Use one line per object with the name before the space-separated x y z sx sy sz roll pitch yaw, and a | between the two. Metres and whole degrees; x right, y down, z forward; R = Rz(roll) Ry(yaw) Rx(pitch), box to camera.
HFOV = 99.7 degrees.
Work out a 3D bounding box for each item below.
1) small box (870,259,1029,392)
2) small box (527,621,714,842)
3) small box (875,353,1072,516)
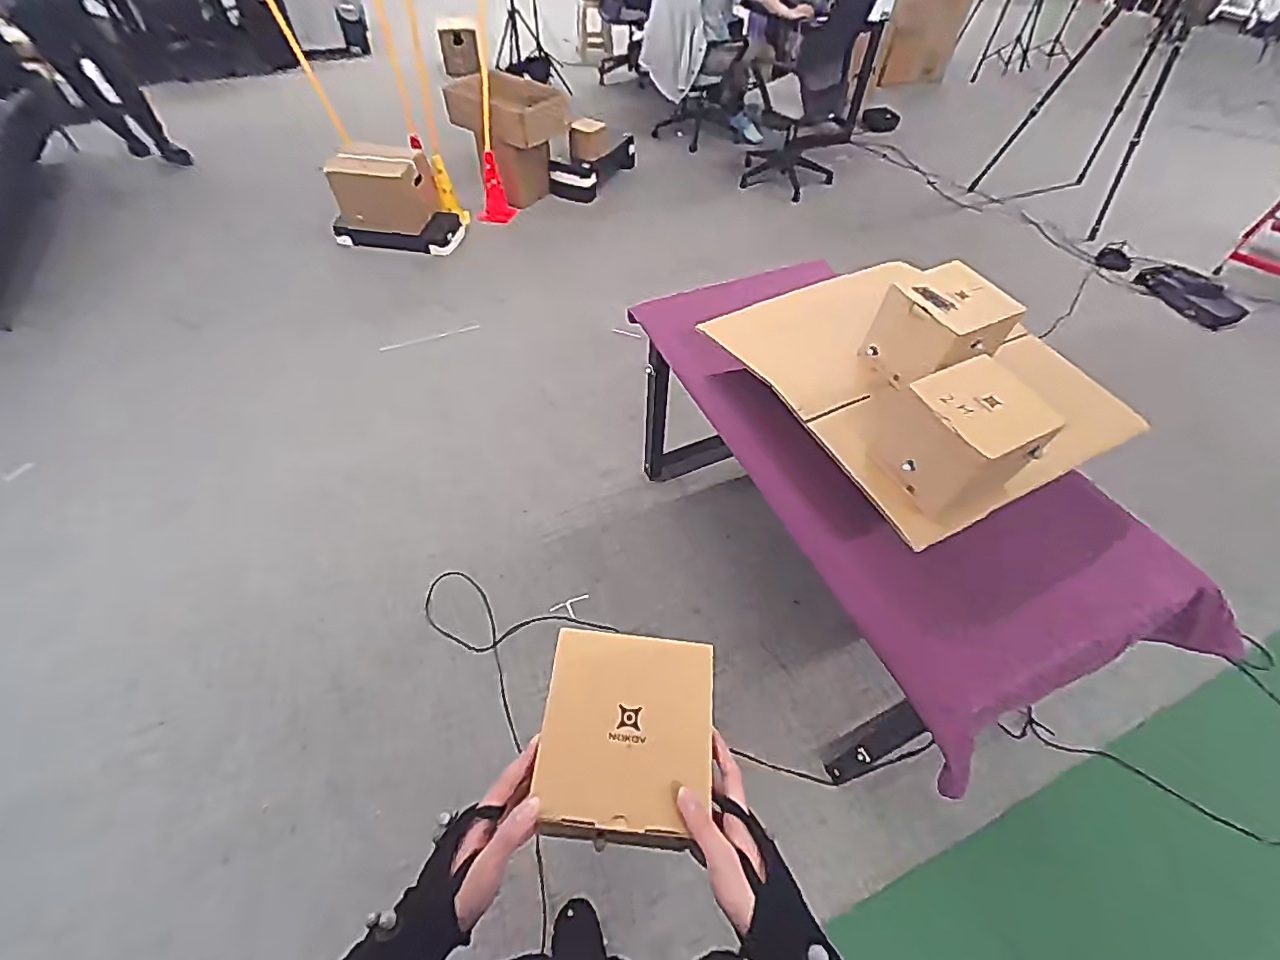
small box | 0.566 -0.283 1.024 0.179 0.176 0.168 -21 59 -18
small box | -0.019 0.274 0.583 0.168 0.176 0.179 7 54 -1
small box | 0.520 -0.071 0.872 0.179 0.176 0.168 -21 58 -16
